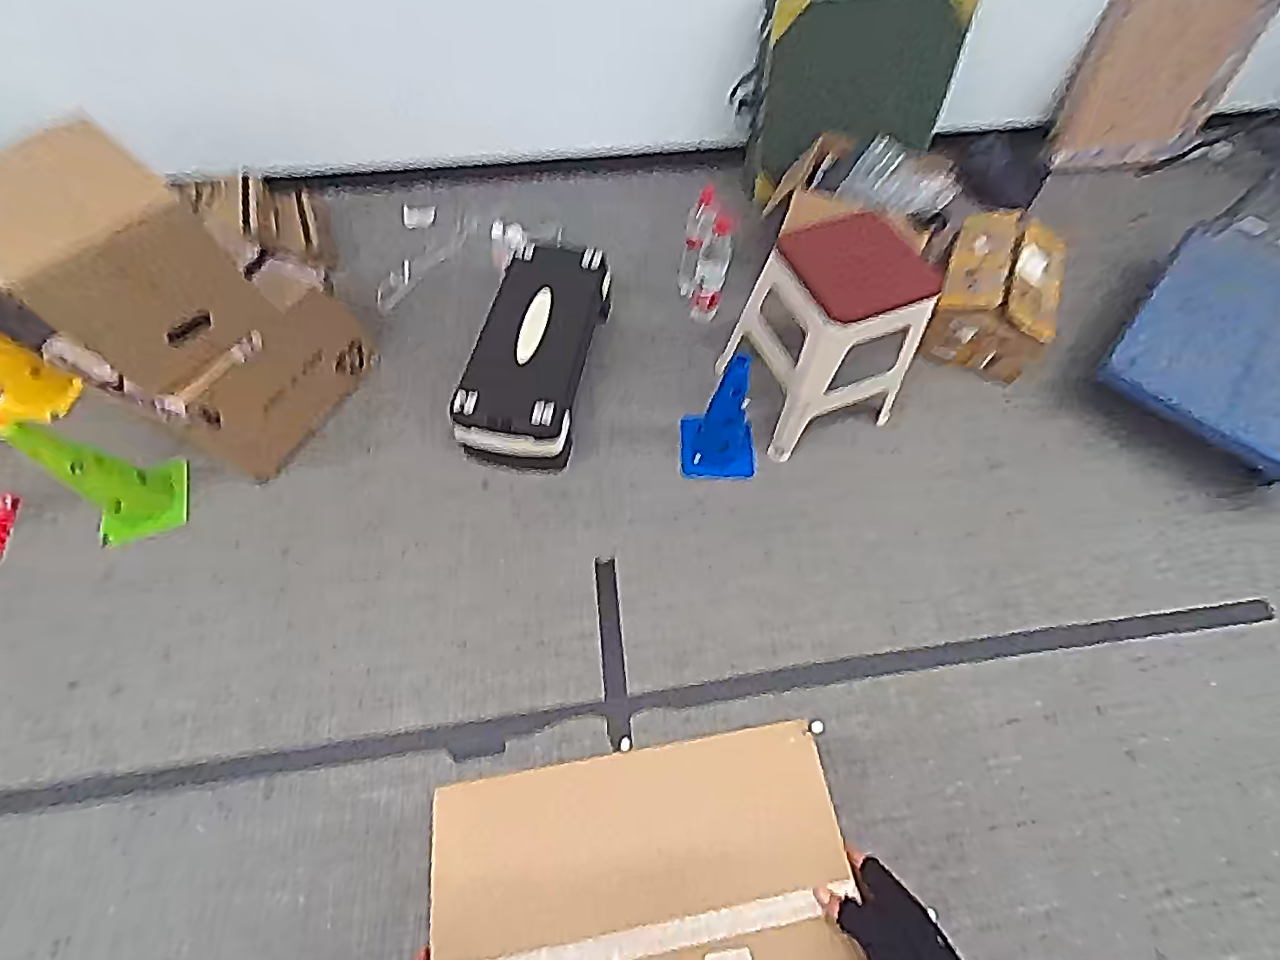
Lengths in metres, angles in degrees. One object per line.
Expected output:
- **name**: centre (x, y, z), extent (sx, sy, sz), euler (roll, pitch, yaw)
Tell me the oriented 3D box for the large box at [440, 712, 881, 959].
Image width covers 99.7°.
- **large box**: centre (0.012, 0.490, 0.634), extent (0.408, 0.320, 0.320), euler (-8, 62, -6)
